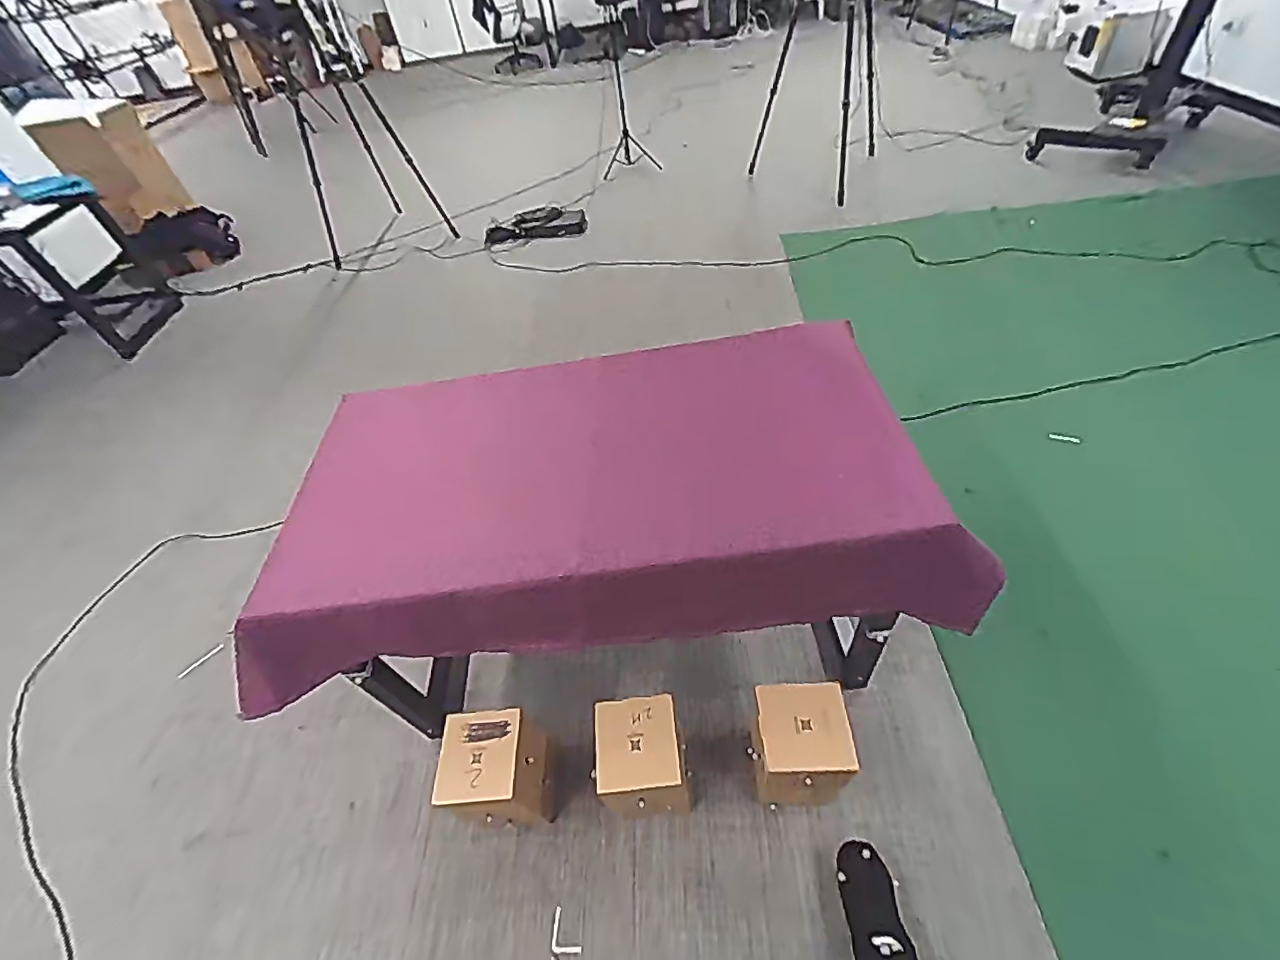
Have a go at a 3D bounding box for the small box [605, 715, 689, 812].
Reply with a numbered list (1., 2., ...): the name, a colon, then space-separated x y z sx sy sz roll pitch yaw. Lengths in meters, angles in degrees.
1. small box: 0.018 0.680 1.290 0.179 0.176 0.168 -7 48 4
